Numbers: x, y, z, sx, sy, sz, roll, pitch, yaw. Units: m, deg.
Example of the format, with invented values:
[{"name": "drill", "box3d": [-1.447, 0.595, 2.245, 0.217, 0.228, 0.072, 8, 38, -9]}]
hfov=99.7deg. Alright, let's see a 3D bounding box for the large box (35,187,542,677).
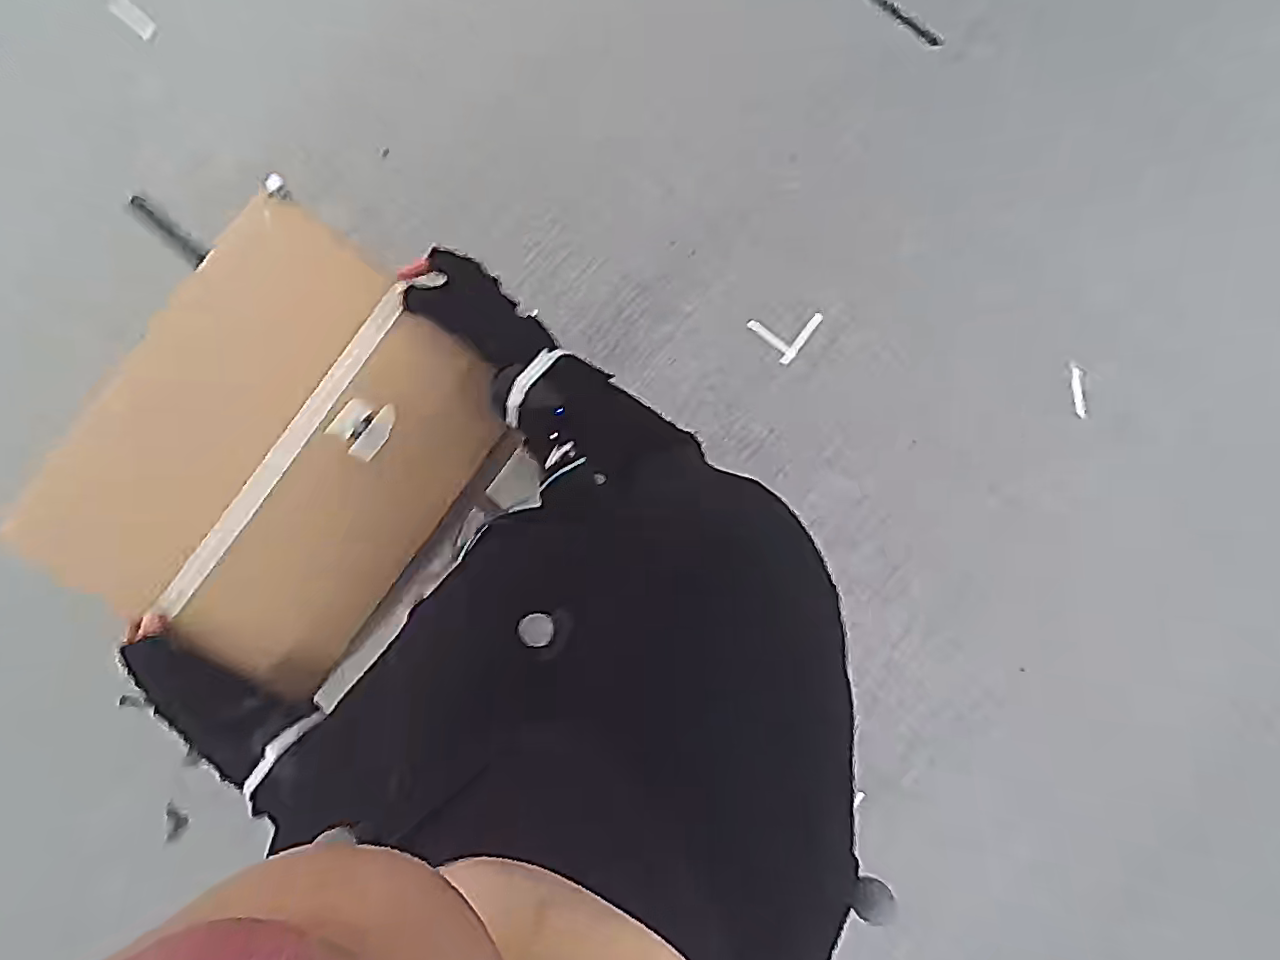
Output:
[{"name": "large box", "box3d": [-0.366, -0.048, 0.690, 0.320, 0.320, 0.408, 36, 87, -9]}]
